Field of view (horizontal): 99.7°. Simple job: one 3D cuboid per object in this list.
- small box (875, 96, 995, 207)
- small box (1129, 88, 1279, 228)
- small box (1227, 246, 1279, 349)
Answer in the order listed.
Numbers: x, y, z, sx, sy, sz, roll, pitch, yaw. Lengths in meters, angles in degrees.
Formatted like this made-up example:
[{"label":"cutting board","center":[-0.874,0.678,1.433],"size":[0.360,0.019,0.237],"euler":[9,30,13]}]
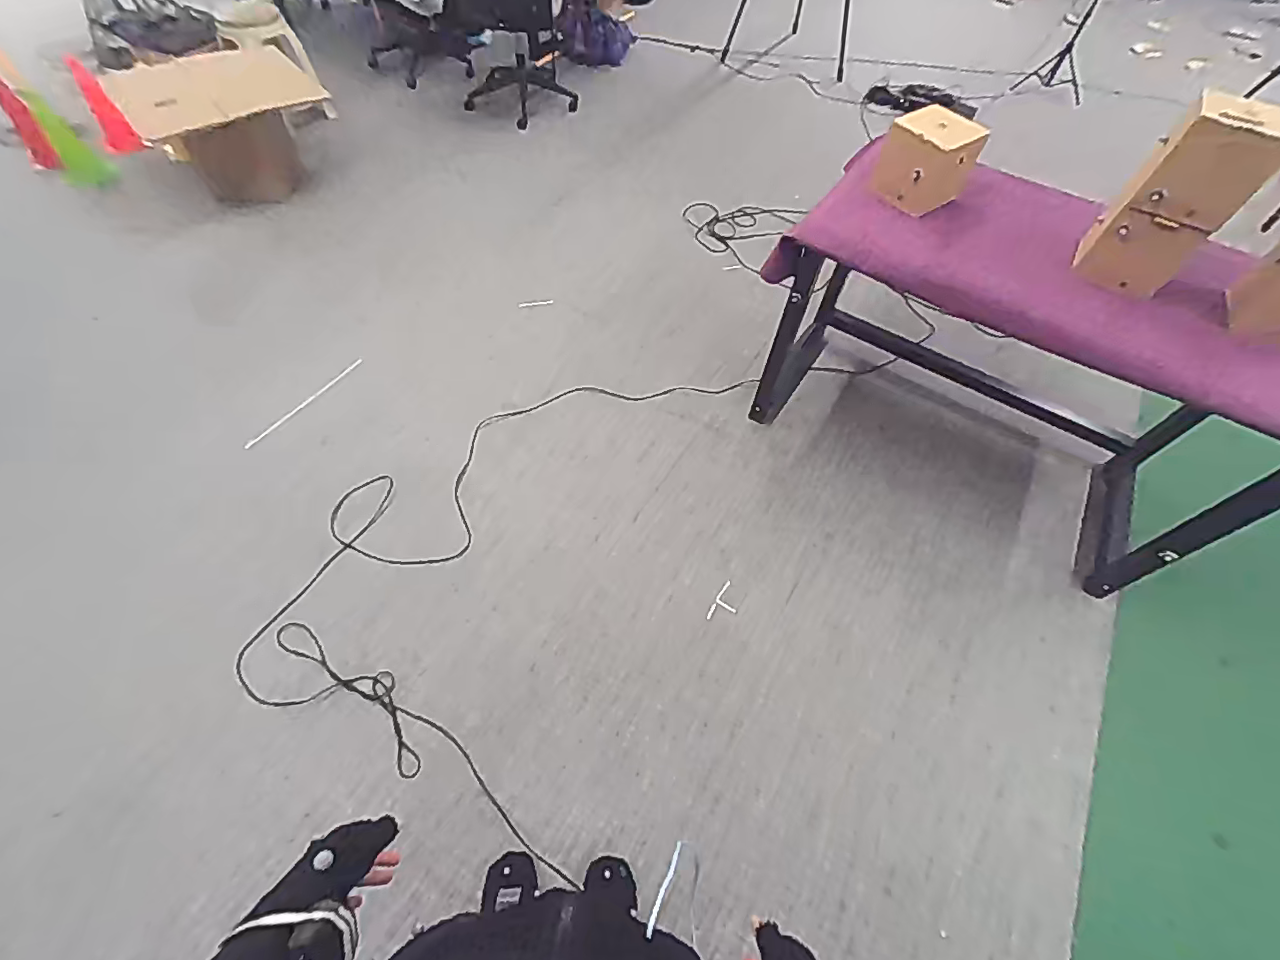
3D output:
[{"label":"small box","center":[0.711,-0.803,1.330],"size":[0.179,0.176,0.168],"euler":[-31,64,-22]},{"label":"small box","center":[1.119,-0.629,1.064],"size":[0.168,0.176,0.179],"euler":[31,58,15]},{"label":"small box","center":[1.382,-0.388,1.121],"size":[0.168,0.176,0.179],"euler":[27,59,15]}]
